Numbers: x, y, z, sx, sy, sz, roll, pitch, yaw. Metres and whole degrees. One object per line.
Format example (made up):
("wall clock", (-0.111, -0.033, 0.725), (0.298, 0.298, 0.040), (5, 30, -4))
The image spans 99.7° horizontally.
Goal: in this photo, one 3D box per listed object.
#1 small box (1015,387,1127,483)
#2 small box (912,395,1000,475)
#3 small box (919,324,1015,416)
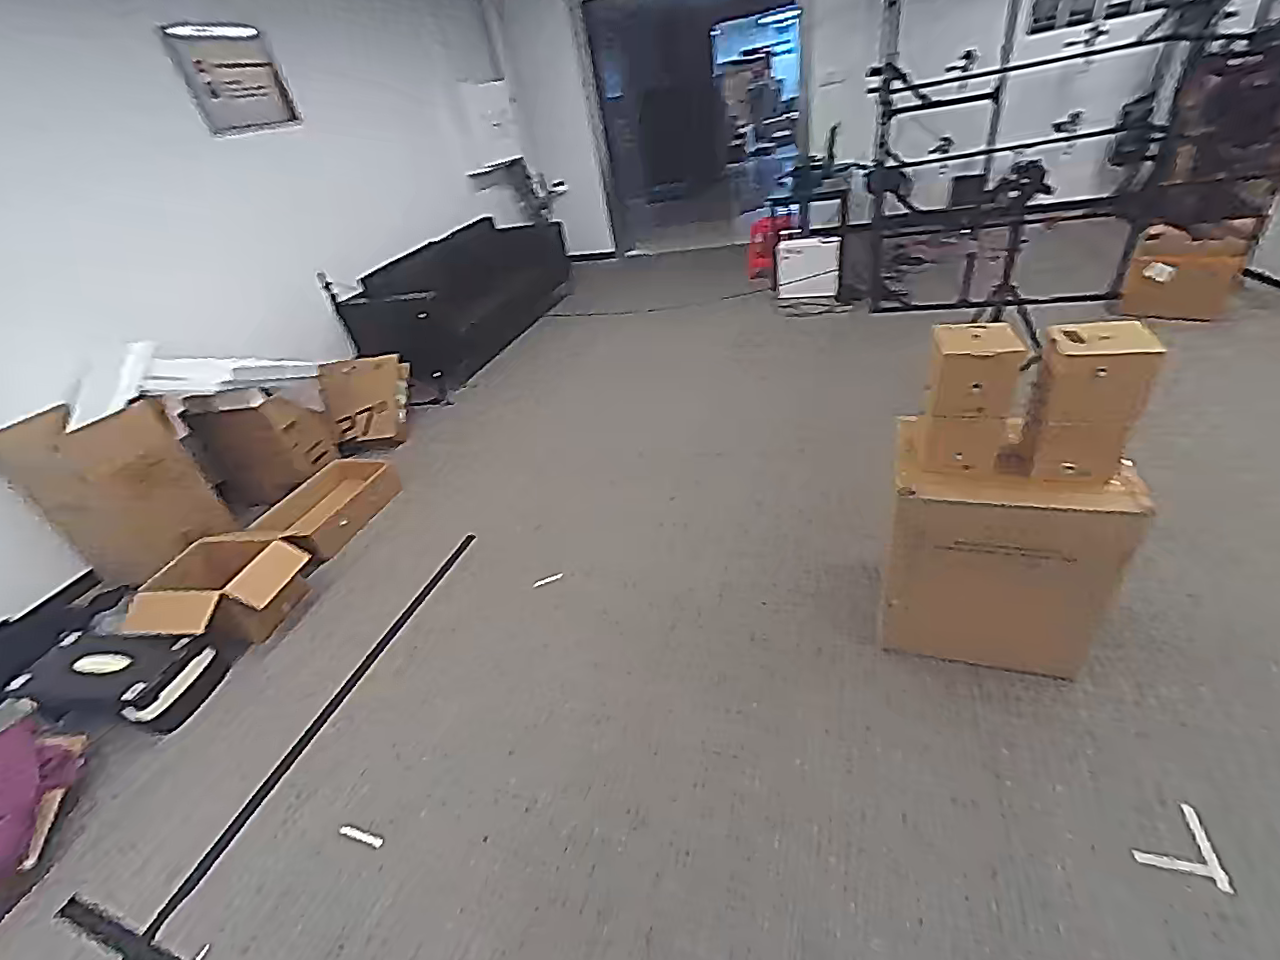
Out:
("small box", (1.045, -0.112, 1.329), (0.168, 0.176, 0.179), (1, 38, 23))
("small box", (0.823, -0.134, 1.425), (0.168, 0.176, 0.179), (3, 38, 20))
("small box", (0.796, -0.267, 1.333), (0.168, 0.176, 0.179), (2, 38, 19))
